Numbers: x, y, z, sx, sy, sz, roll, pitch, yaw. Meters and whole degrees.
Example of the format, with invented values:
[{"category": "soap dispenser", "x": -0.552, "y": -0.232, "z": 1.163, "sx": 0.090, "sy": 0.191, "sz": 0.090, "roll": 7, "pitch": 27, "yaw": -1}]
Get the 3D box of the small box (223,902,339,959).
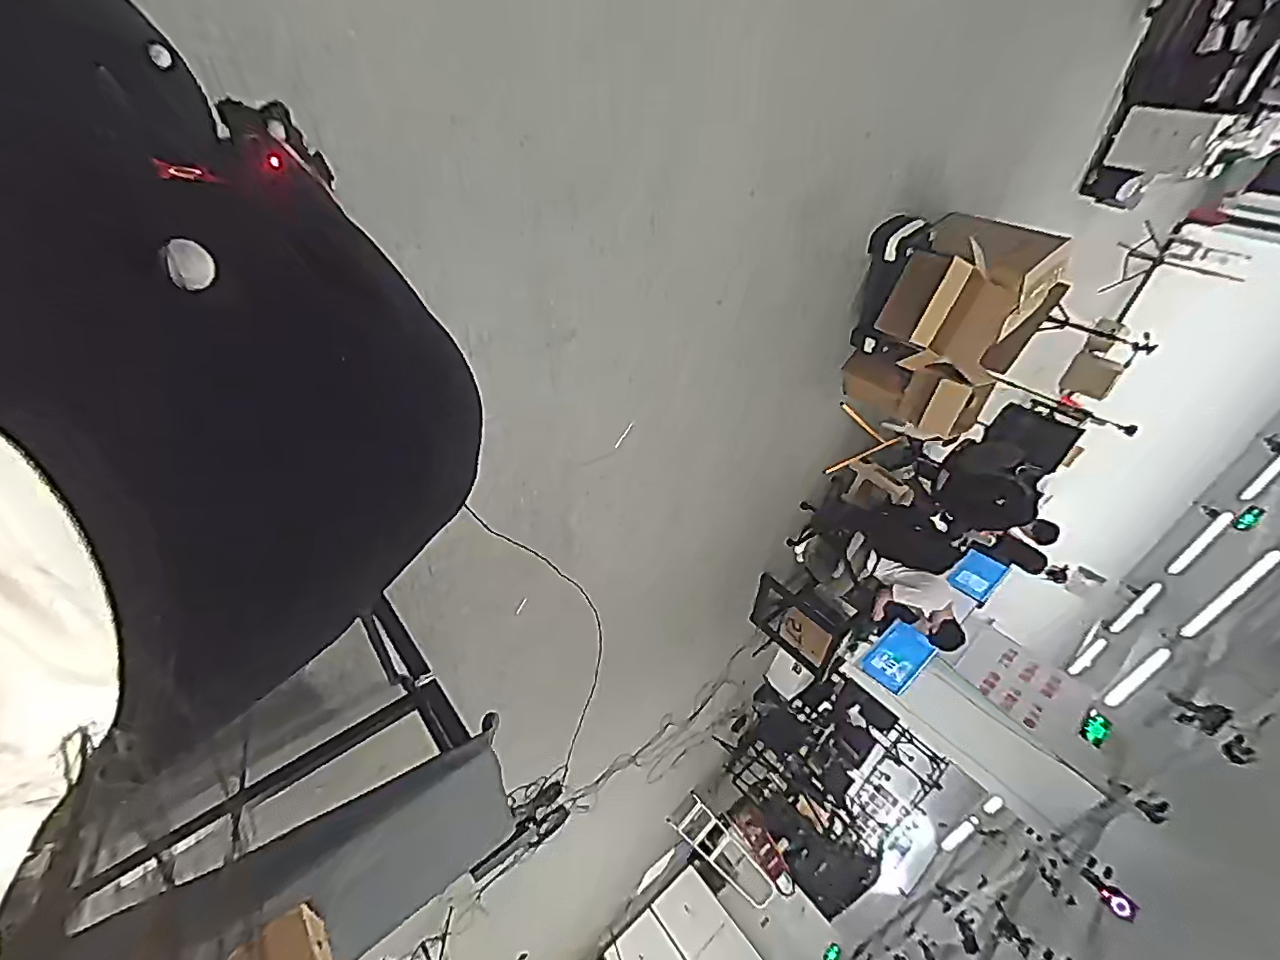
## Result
[{"category": "small box", "x": -0.758, "y": 1.058, "z": 1.152, "sx": 0.179, "sy": 0.176, "sz": 0.168, "roll": -25, "pitch": 137, "yaw": -32}]
